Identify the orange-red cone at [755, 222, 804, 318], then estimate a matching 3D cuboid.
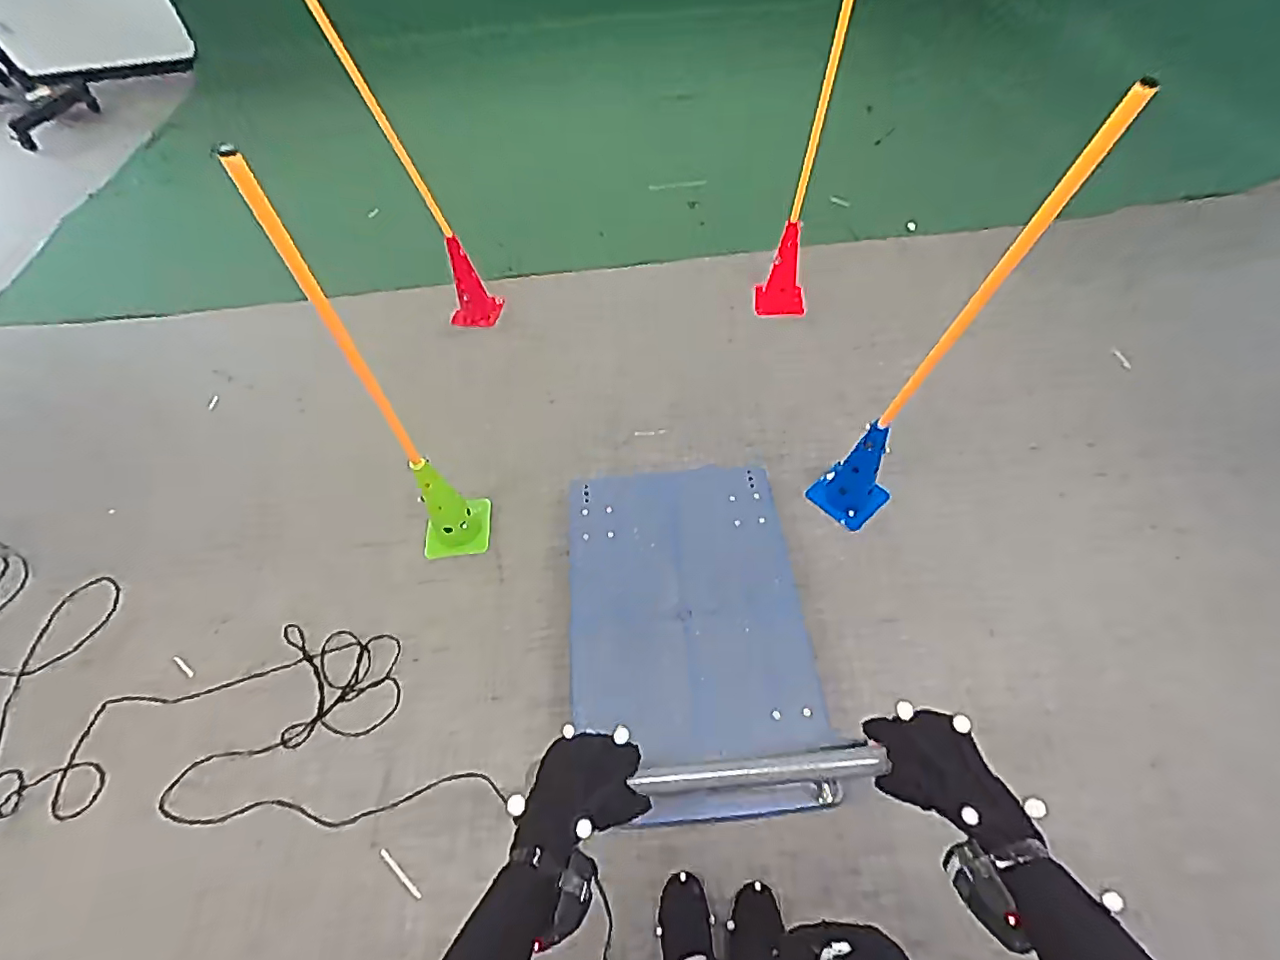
[{"bbox_3d":[0.578,-0.846,2.148,0.198,0.360,0.199,3,56,7],"label":"orange-red cone"}]
